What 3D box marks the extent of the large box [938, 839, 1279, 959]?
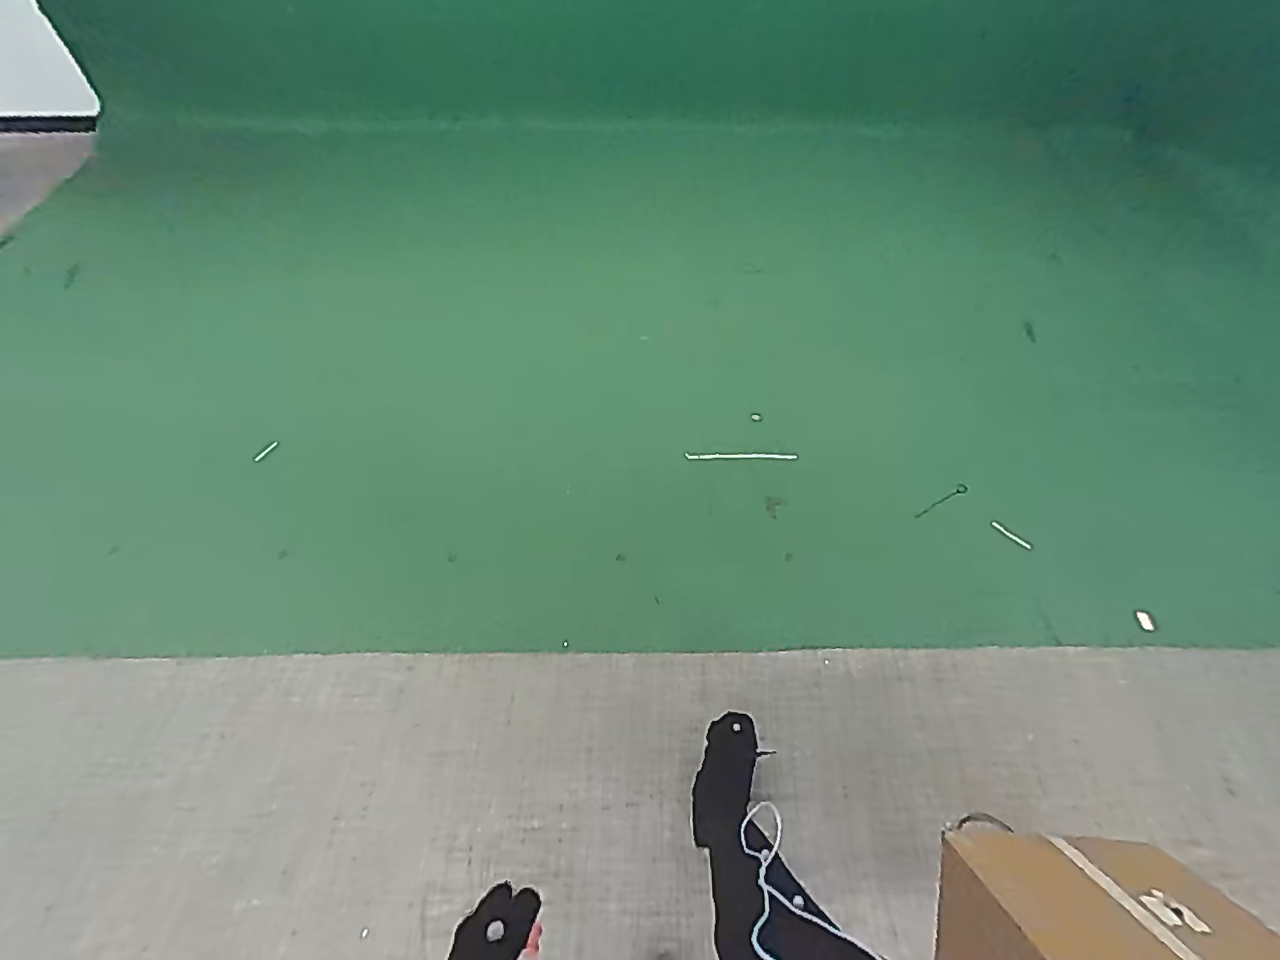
[{"bbox_3d":[0.583,0.682,0.590,0.320,0.408,0.320,4,89,1],"label":"large box"}]
